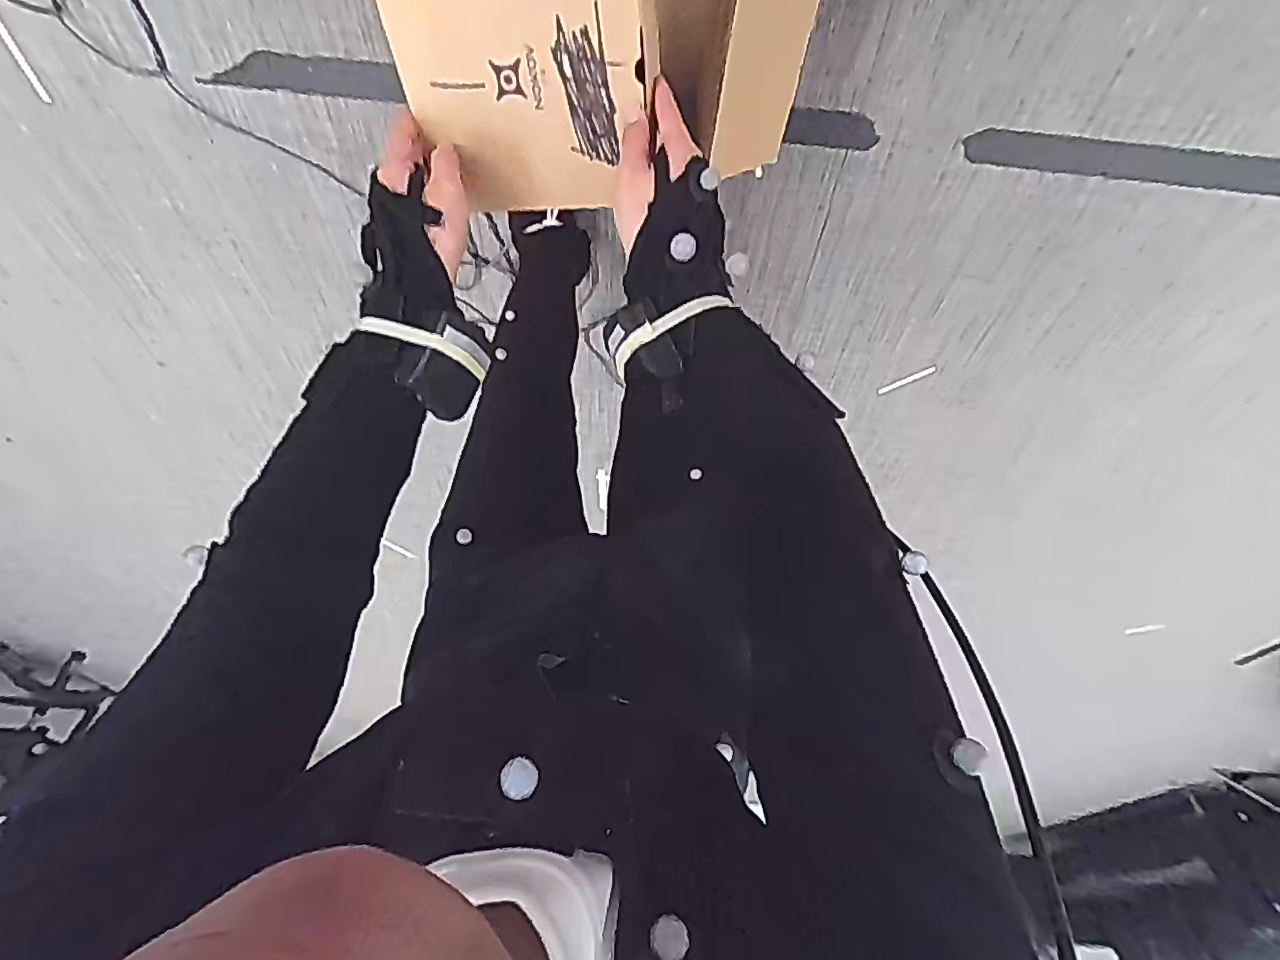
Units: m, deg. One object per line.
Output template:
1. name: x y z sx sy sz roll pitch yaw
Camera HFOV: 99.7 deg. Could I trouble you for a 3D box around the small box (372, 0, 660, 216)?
1. small box: -0.075 -0.328 0.427 0.179 0.176 0.168 -1 134 7
